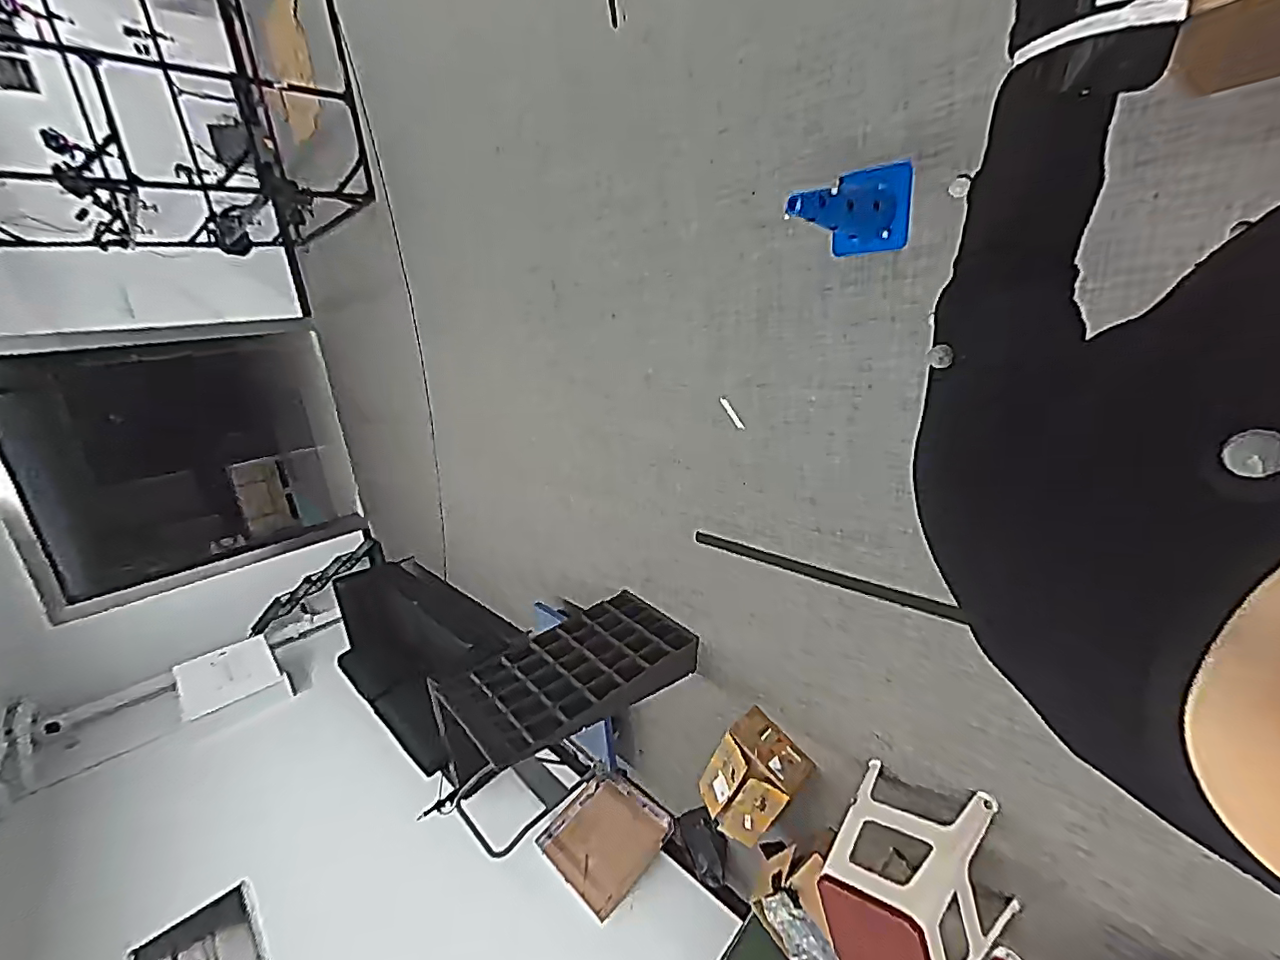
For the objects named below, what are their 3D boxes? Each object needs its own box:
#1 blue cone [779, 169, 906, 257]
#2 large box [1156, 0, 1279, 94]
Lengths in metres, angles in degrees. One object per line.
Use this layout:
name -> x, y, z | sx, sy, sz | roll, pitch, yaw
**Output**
blue cone -> 0.463, -0.642, 1.291 | 0.192, 0.380, 0.193 | 18, 118, 45
large box -> 0.532, -0.448, 0.243 | 0.408, 0.320, 0.320 | 10, 115, 45
